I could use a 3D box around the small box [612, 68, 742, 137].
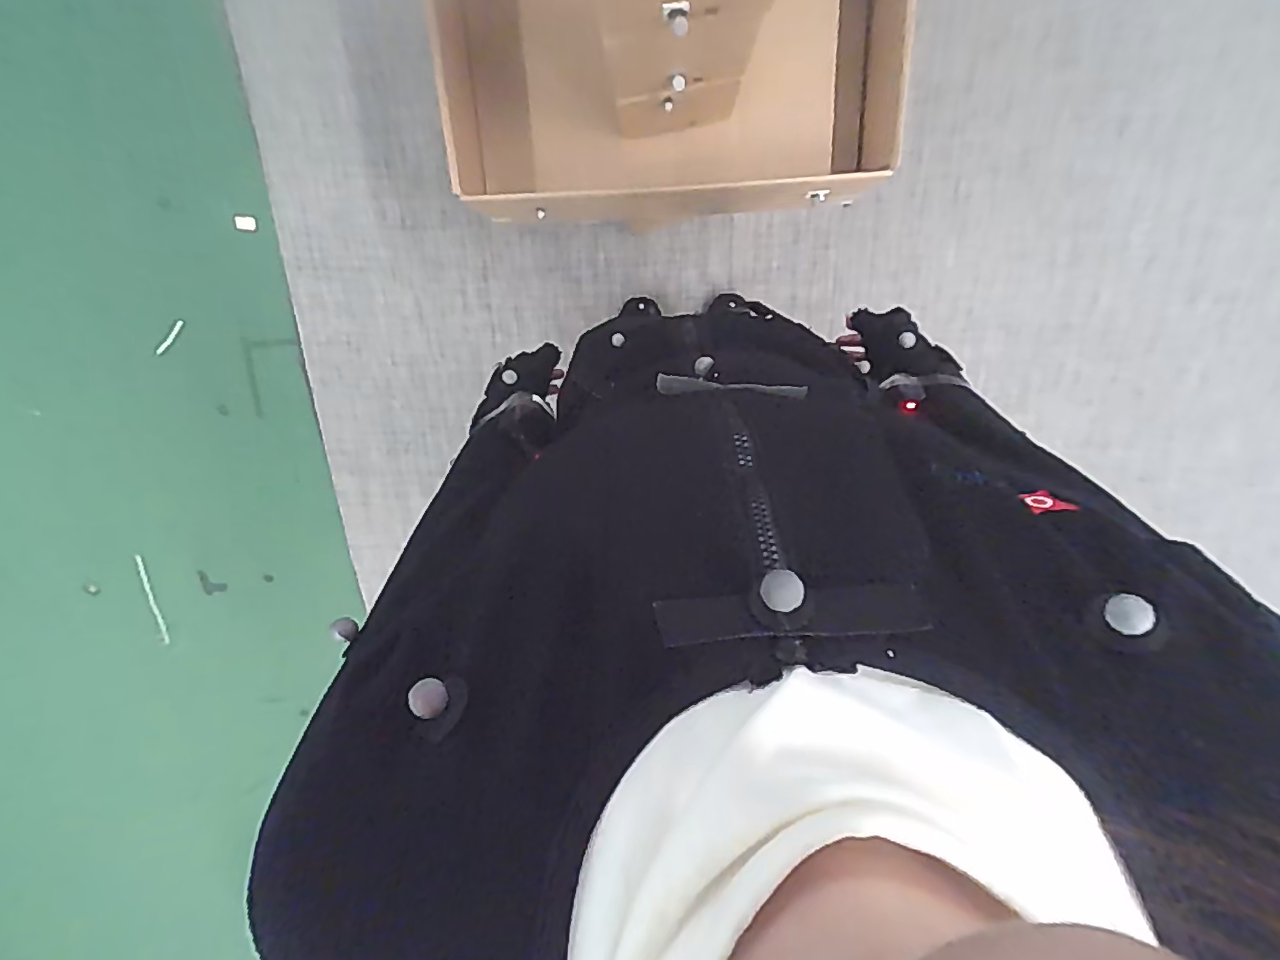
[{"bbox_3d":[0.042,-0.603,0.738,0.168,0.176,0.179,-7,107,7],"label":"small box"}]

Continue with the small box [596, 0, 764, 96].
[{"bbox_3d":[0.034,-0.554,0.582,0.168,0.176,0.179,-7,109,6],"label":"small box"}]
